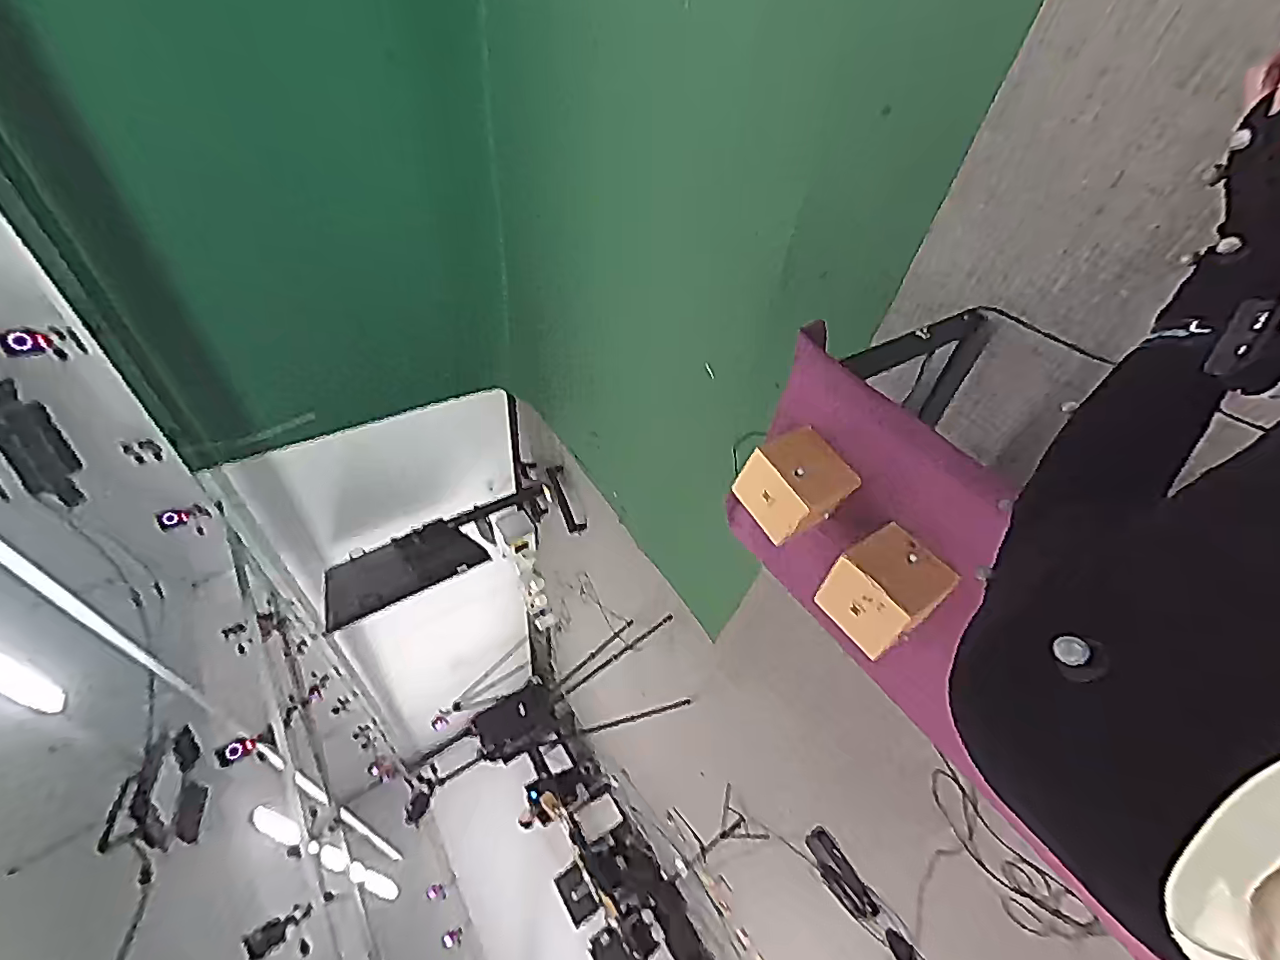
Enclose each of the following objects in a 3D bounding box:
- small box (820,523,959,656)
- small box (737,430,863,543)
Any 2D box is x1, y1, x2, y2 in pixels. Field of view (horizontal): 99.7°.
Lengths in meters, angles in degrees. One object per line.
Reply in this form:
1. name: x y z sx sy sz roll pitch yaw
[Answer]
1. small box: 0.511 0.221 1.113 0.168 0.176 0.179 48 148 31
2. small box: 0.359 0.007 1.224 0.179 0.176 0.168 54 151 22
